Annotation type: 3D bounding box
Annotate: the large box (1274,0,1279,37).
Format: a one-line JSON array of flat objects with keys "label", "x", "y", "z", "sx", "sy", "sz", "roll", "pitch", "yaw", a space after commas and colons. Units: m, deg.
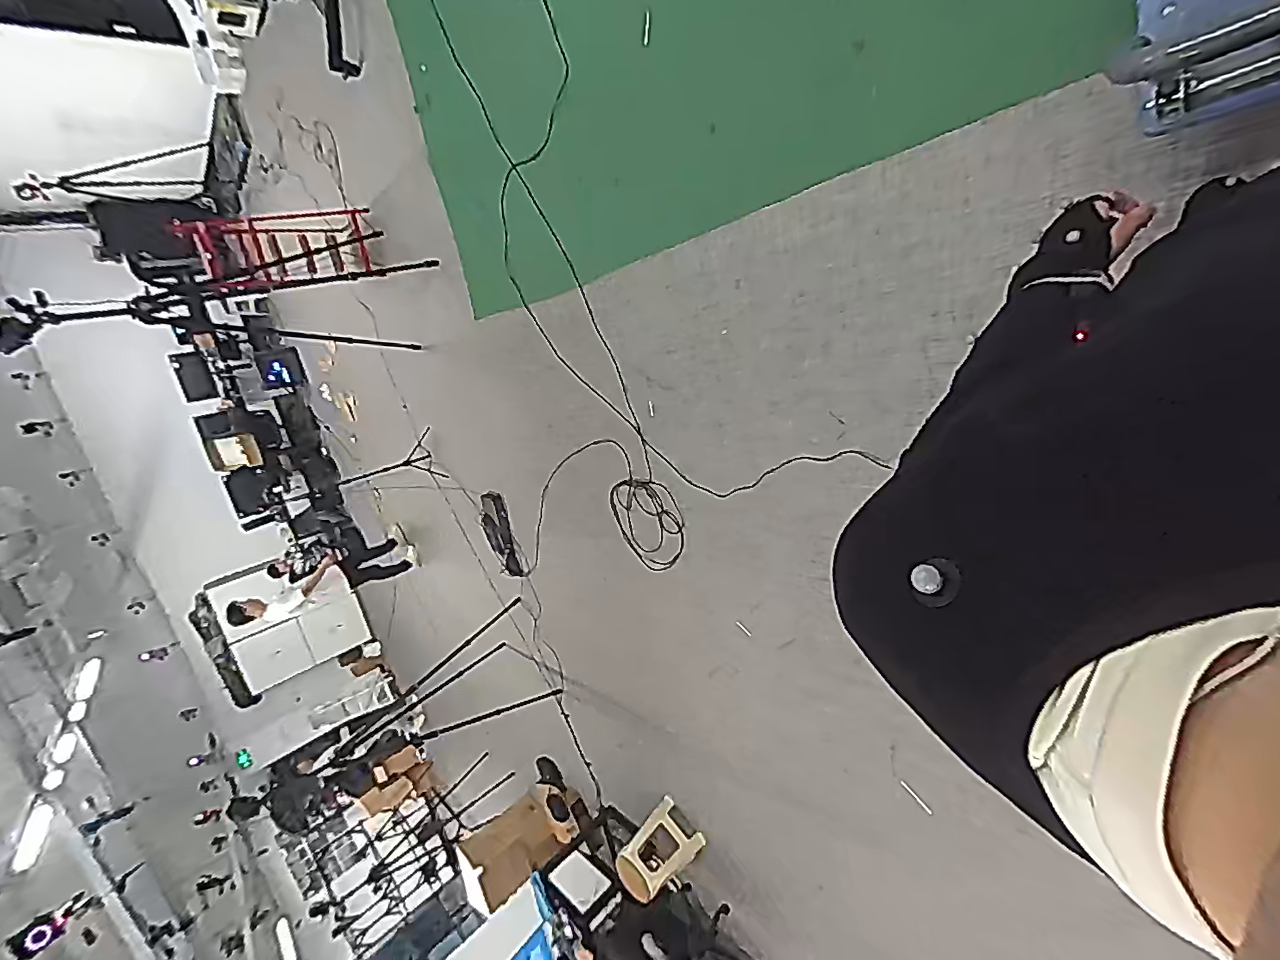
[{"label": "large box", "x": 0.956, "y": -0.839, "z": 0.613, "sx": 0.320, "sy": 0.320, "sz": 0.408, "roll": 1, "pitch": 108, "yaw": 48}]
